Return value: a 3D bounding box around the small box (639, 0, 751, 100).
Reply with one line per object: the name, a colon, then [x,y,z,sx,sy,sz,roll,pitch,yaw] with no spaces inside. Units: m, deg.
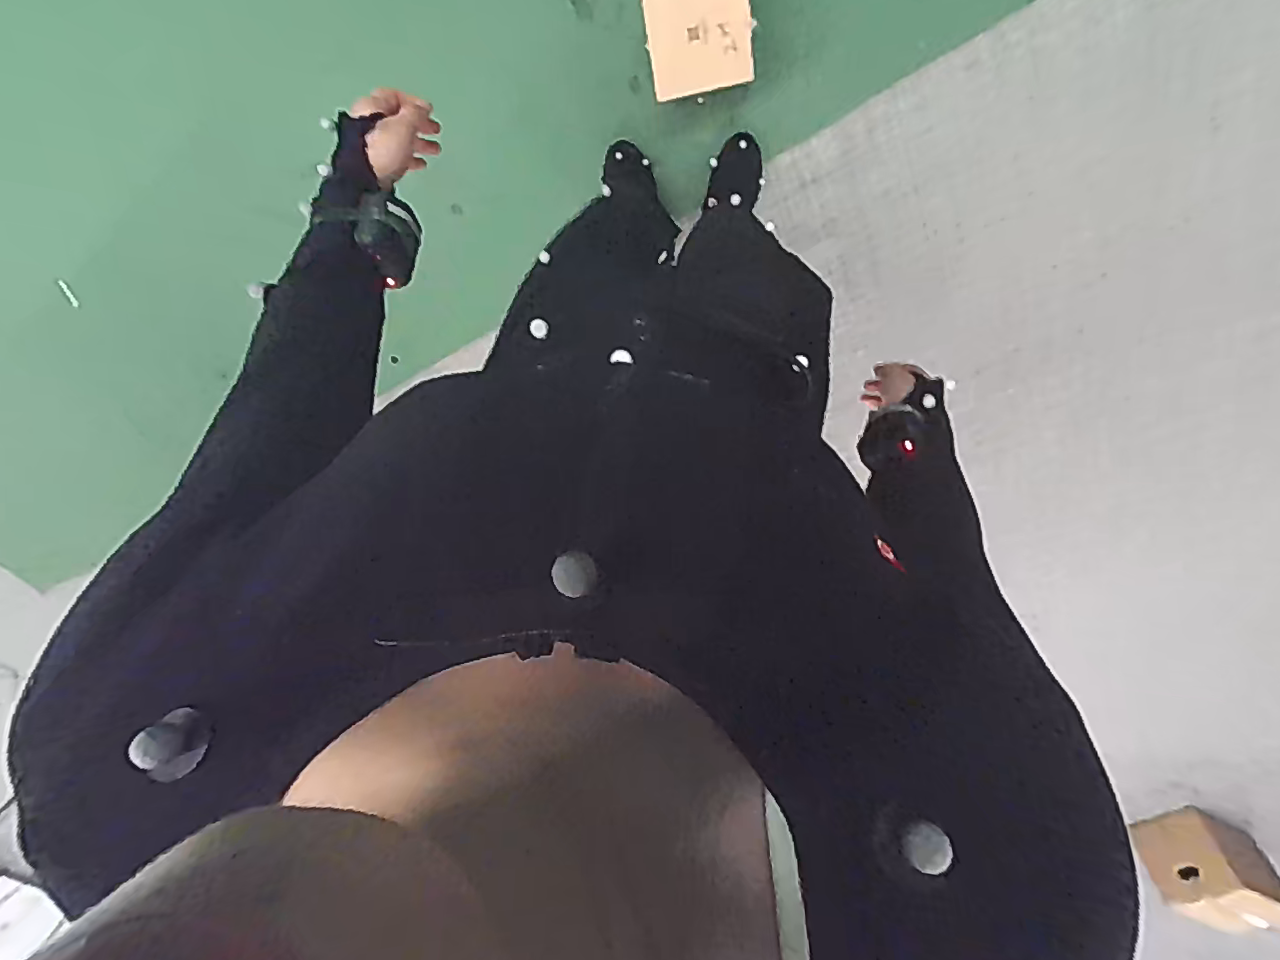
small box: [0.104,-0.801,0.975,0.179,0.176,0.168,-5,126,12]
